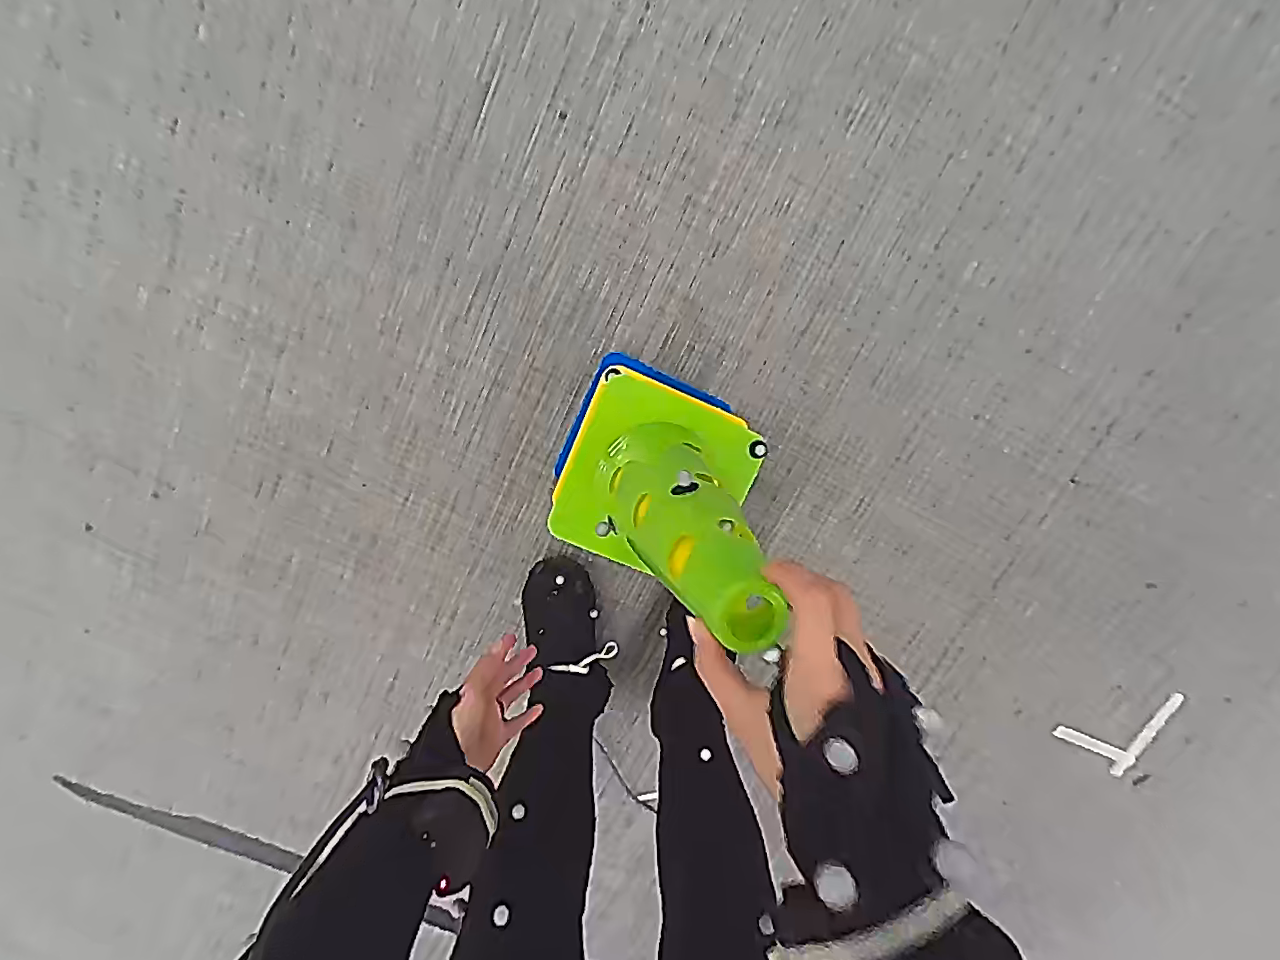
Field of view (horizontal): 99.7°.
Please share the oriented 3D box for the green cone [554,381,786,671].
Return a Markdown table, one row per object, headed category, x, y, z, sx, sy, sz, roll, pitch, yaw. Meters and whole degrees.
| category | x | y | z | sx | sy | sz | roll | pitch | yaw |
| --- | --- | --- | --- | --- | --- | --- | --- | --- | --- |
| green cone | 0.038 | 0.041 | 0.442 | 0.200 | 0.368 | 0.202 | 22 | 98 | -8 |
